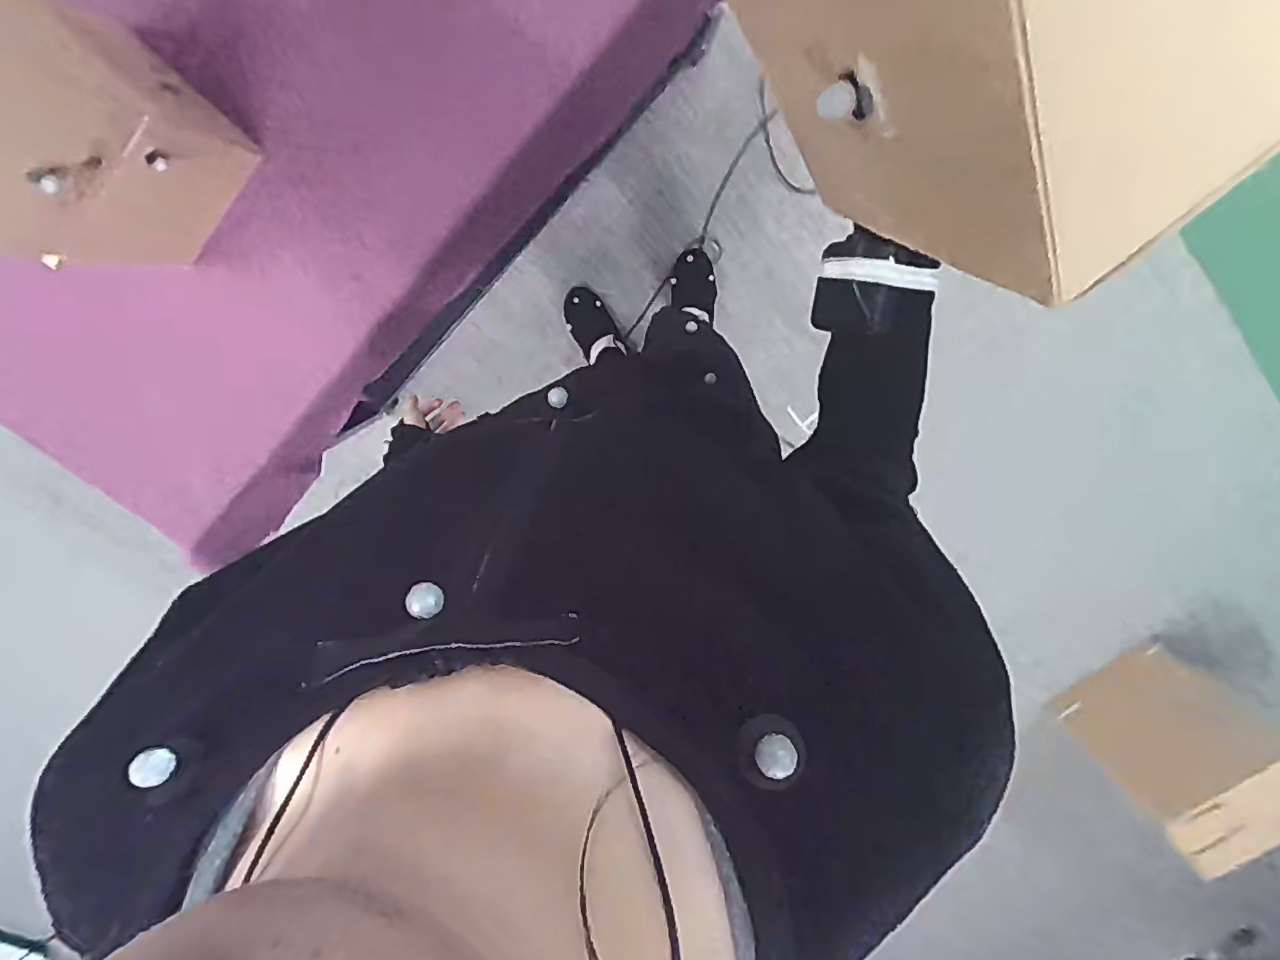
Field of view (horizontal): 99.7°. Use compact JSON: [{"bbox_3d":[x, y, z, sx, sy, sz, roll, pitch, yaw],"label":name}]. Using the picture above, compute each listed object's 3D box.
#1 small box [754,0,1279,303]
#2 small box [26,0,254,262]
[{"bbox_3d":[0.156,-0.207,0.194,0.179,0.168,0.176,-39,132,12],"label":"small box"},{"bbox_3d":[-0.542,-0.340,0.540,0.168,0.176,0.179,41,103,-15],"label":"small box"}]
